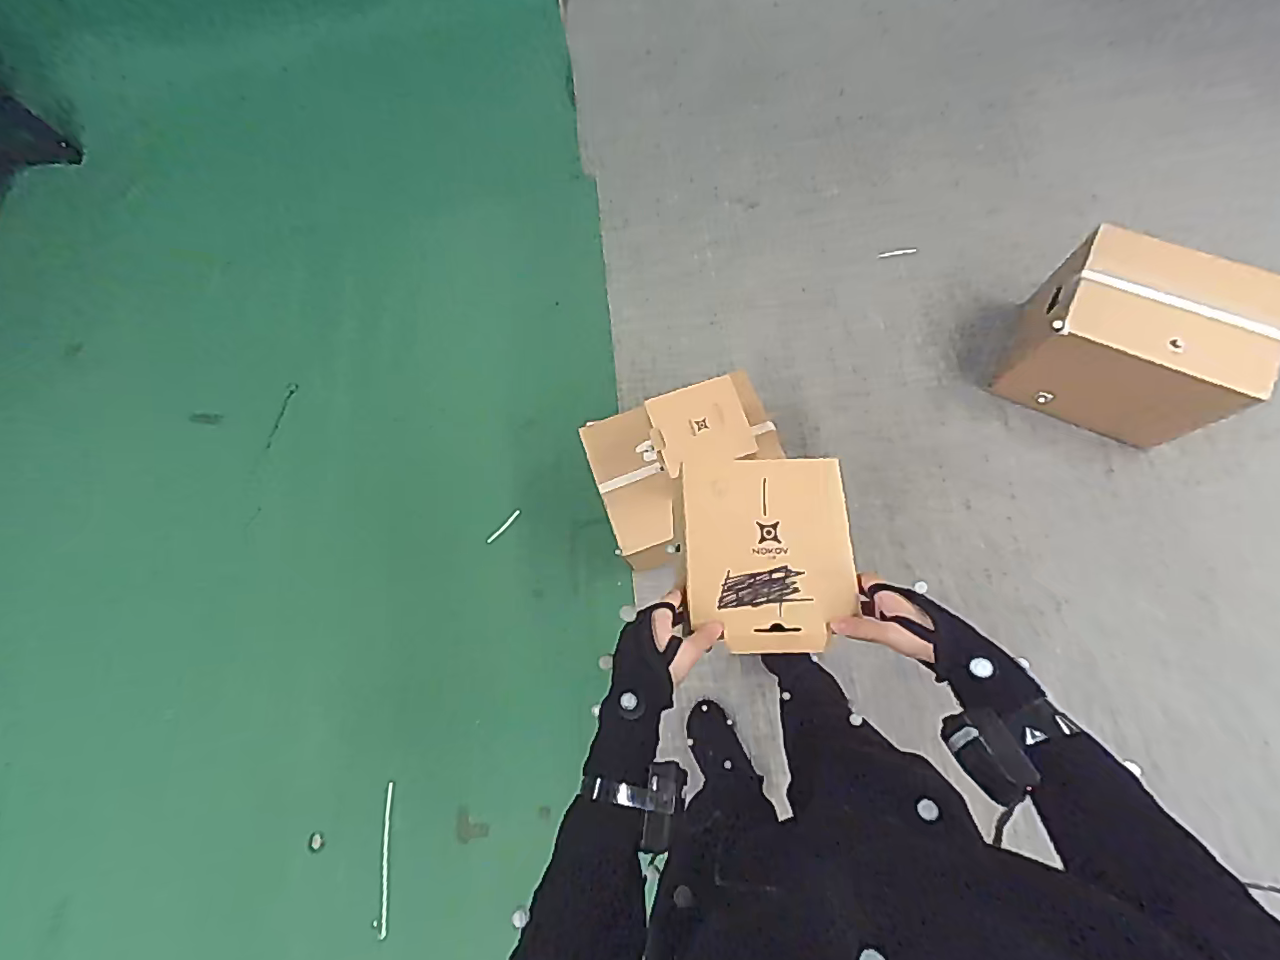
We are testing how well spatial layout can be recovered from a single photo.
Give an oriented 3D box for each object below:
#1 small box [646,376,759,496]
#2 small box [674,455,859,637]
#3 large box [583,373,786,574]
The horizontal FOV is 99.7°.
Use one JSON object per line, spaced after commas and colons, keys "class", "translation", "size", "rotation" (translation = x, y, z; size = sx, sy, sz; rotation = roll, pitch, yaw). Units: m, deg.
{"class": "small box", "translation": [0.123, -0.077, 1.082], "size": [0.179, 0.176, 0.168], "rotation": [-18, 74, 1]}
{"class": "small box", "translation": [0.126, 0.084, 0.611], "size": [0.168, 0.176, 0.179], "rotation": [-2, 71, 0]}
{"class": "large box", "translation": [0.124, 0.004, 1.316], "size": [0.408, 0.320, 0.320], "rotation": [-21, 71, 1]}
